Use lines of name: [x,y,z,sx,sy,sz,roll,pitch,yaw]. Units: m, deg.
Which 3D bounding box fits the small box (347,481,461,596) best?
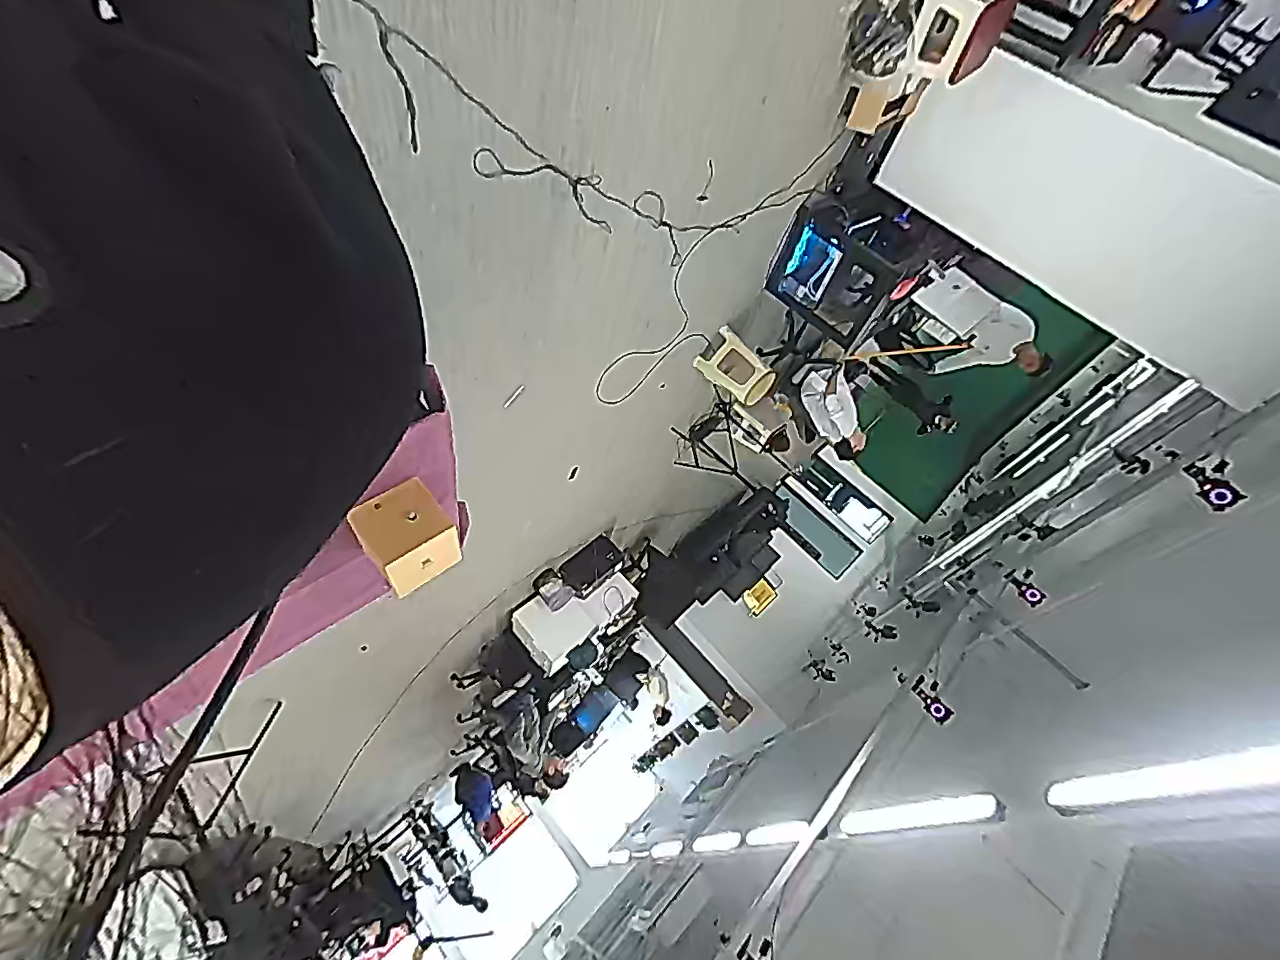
small box: [-0.534,0.126,1.233,0.168,0.176,0.179,-35,160,-29]
